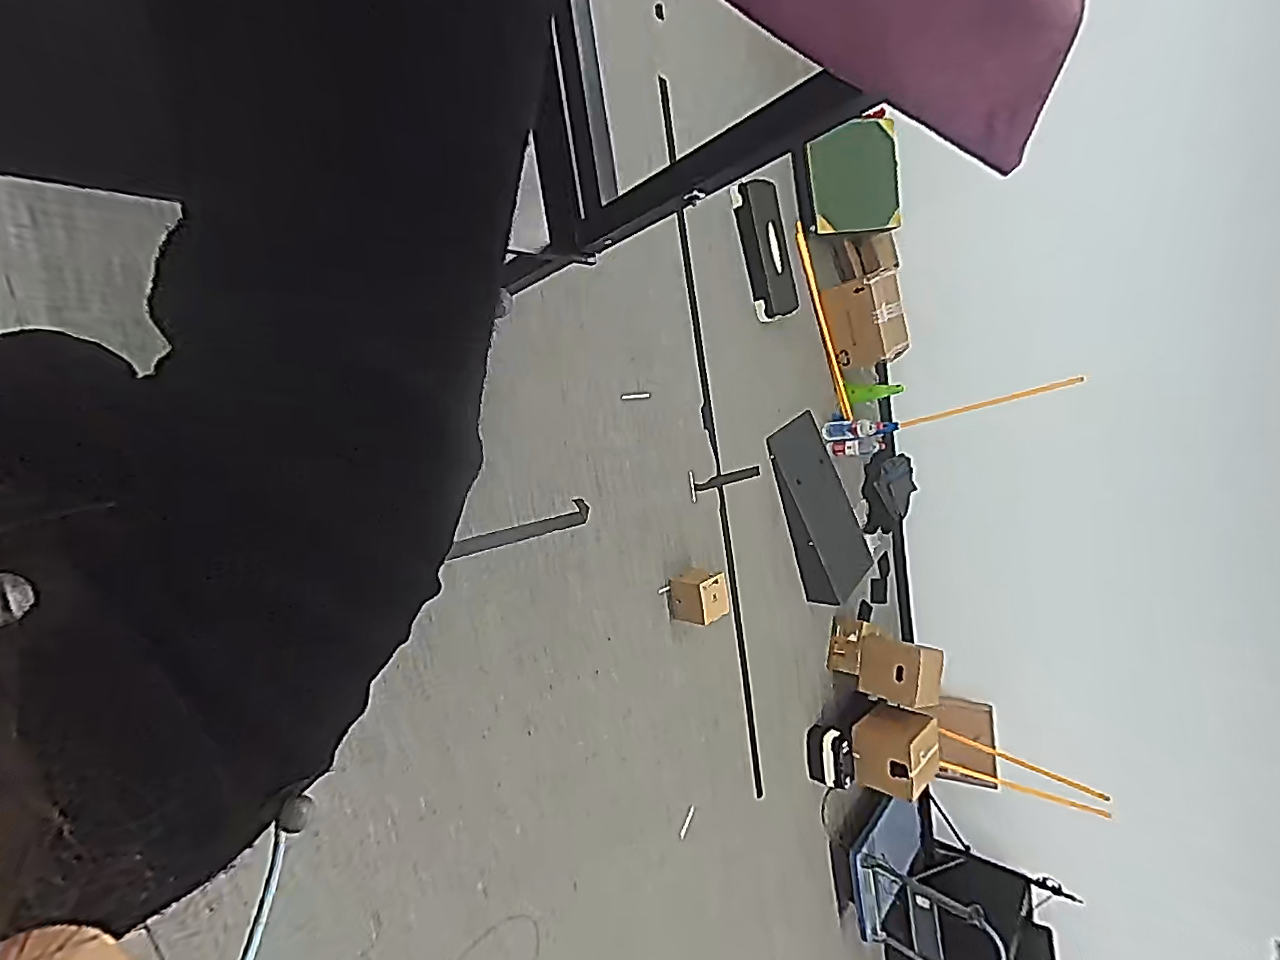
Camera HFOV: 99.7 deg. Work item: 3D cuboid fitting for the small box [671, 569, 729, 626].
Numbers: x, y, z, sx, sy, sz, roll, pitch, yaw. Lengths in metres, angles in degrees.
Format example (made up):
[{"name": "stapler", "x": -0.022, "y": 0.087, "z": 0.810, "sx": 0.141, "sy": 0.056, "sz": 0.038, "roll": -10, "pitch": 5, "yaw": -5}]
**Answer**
[{"name": "small box", "x": 0.248, "y": 0.483, "z": 2.248, "sx": 0.168, "sy": 0.176, "sz": 0.179, "roll": -15, "pitch": 99, "yaw": -44}]
